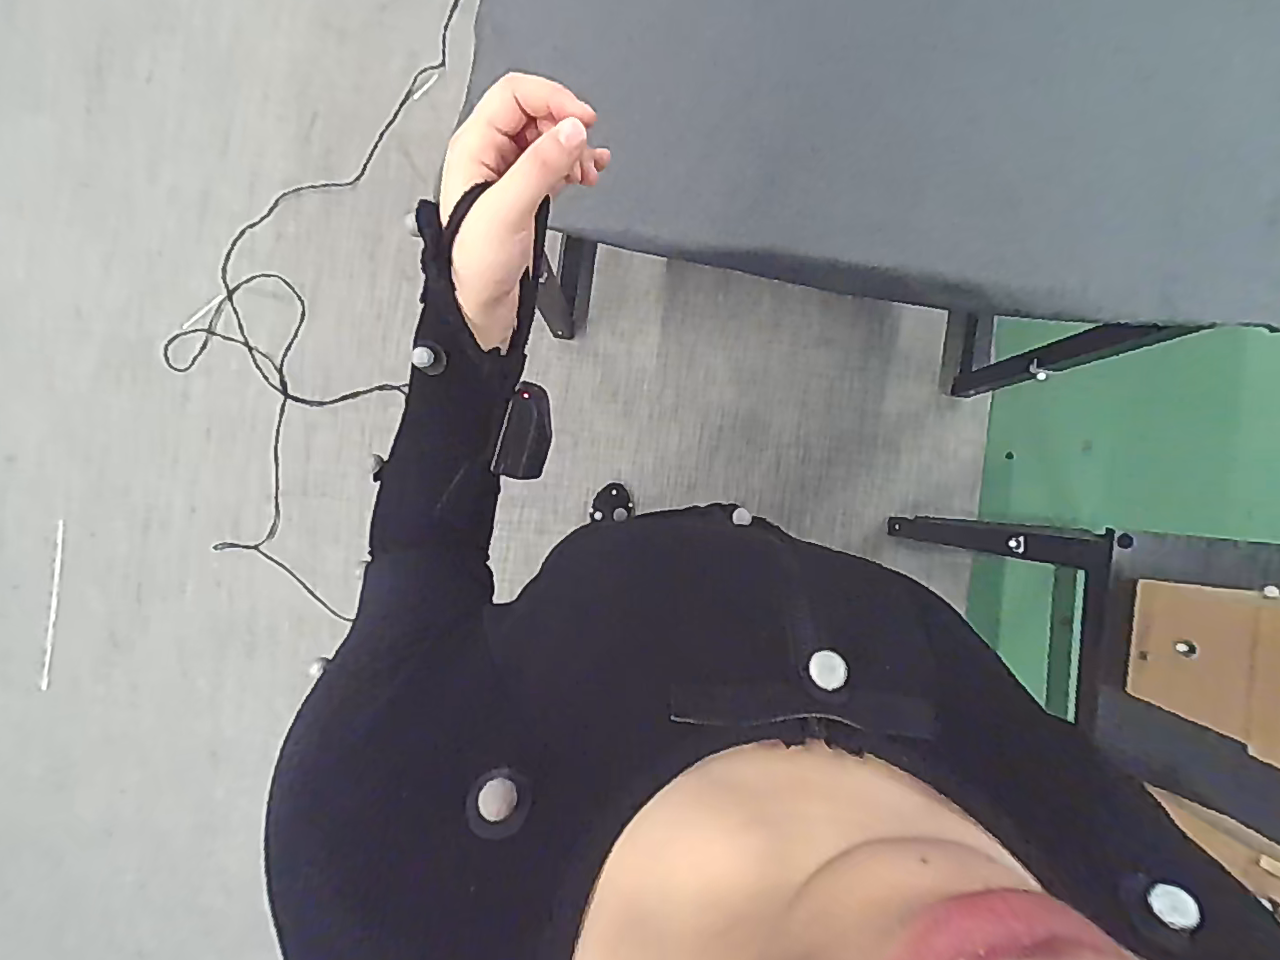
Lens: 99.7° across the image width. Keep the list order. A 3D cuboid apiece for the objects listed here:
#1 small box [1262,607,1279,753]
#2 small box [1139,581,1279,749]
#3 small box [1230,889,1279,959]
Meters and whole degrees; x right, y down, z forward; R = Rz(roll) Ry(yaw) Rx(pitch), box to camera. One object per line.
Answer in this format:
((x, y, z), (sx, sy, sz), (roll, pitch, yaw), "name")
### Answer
((0.767, 0.229, 0.514), (0.168, 0.176, 0.179), (6, 89, 1), "small box")
((0.785, 0.227, 0.676), (0.179, 0.176, 0.168), (6, 90, 0), "small box")
((0.725, 0.532, 0.508), (0.179, 0.176, 0.168), (24, 90, 0), "small box")
